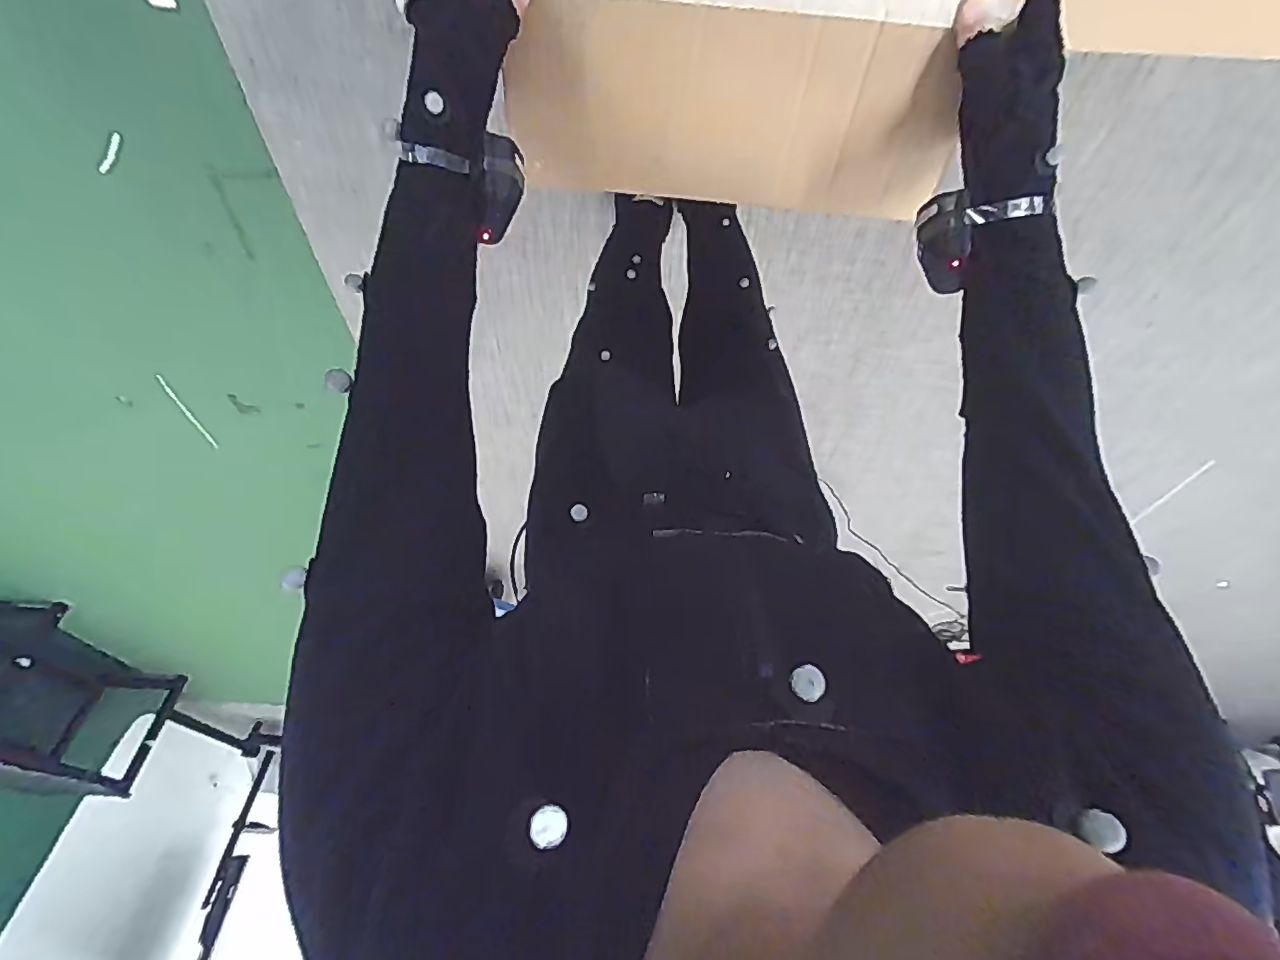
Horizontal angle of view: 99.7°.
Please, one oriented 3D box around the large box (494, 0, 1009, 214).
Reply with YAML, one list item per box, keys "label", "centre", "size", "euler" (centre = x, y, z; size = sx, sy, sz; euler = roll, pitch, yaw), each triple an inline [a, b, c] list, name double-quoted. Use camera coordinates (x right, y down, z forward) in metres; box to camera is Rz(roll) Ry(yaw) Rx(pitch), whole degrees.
- label: "large box"
  centre: [0.093, -0.490, 0.509]
  size: [0.408, 0.320, 0.320]
  euler: [6, 140, 0]
